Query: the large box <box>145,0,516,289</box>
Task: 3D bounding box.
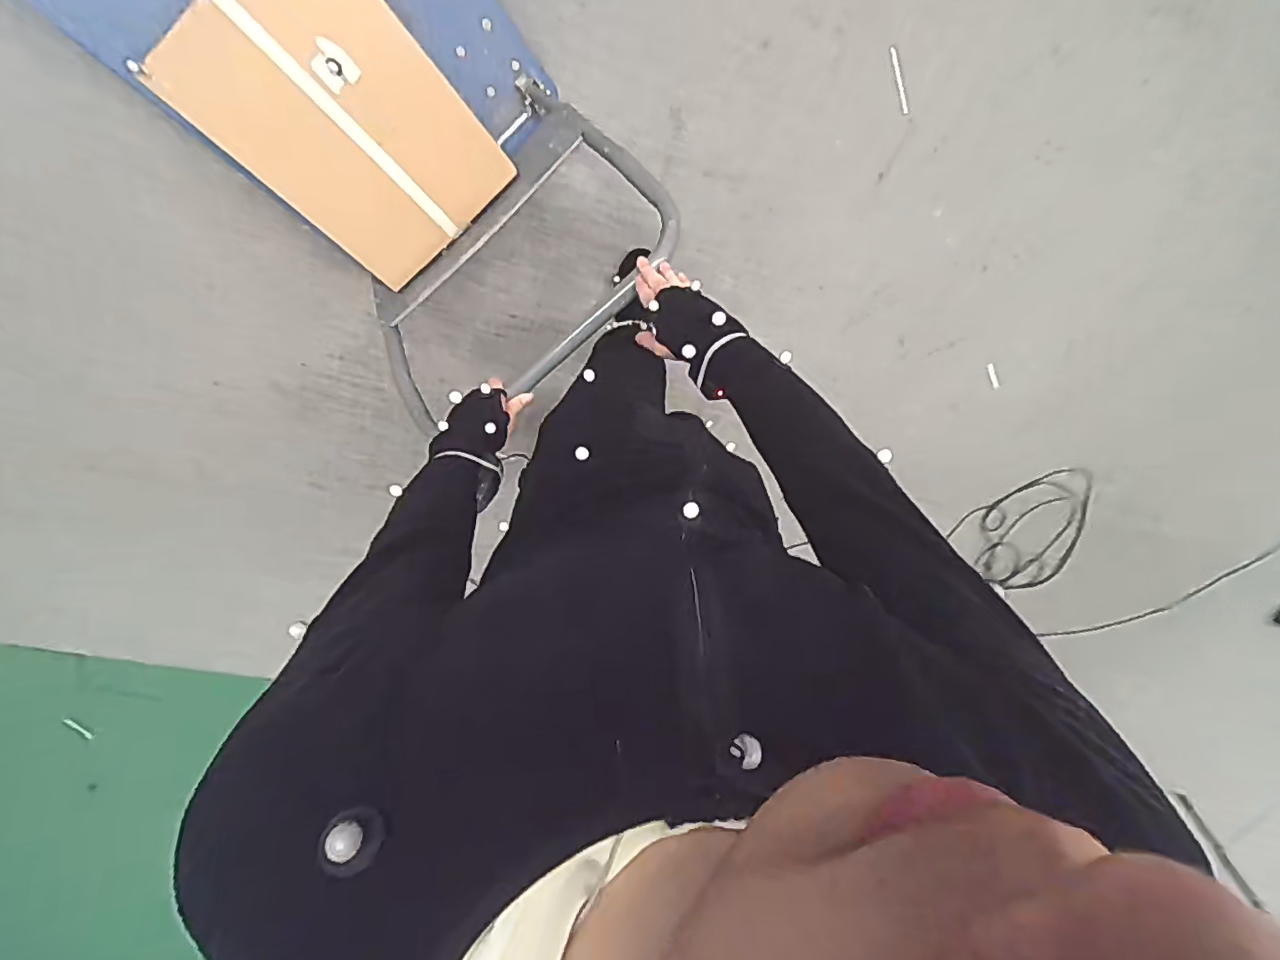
[{"bbox_3d":[-0.485,-0.622,0.926,0.320,0.320,0.408,-40,136,10],"label":"large box"}]
